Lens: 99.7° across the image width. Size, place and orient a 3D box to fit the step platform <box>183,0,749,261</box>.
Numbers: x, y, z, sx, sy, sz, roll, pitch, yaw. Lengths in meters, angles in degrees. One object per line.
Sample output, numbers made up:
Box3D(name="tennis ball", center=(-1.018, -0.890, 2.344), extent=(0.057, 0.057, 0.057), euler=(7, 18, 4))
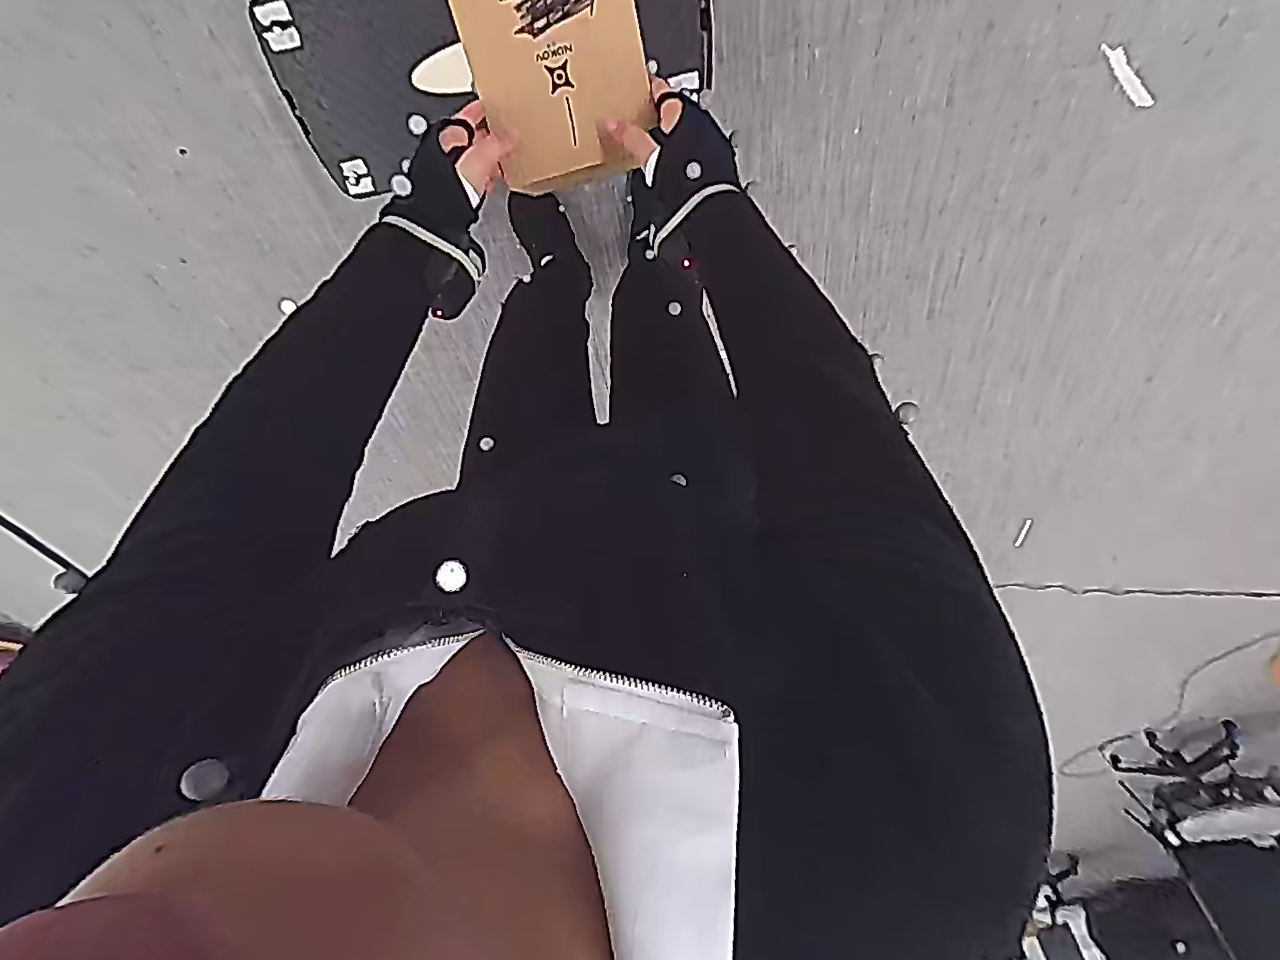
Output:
Box3D(name="step platform", center=(-0.208, -0.532, 0.748), extent=(0.684, 0.204, 0.286), euler=(-9, 132, 7))

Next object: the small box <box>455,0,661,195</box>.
Box3D(name="small box", center=(-0.078, -0.429, 0.590), extent=(0.168, 0.176, 0.179), euler=(-12, 115, 5))
